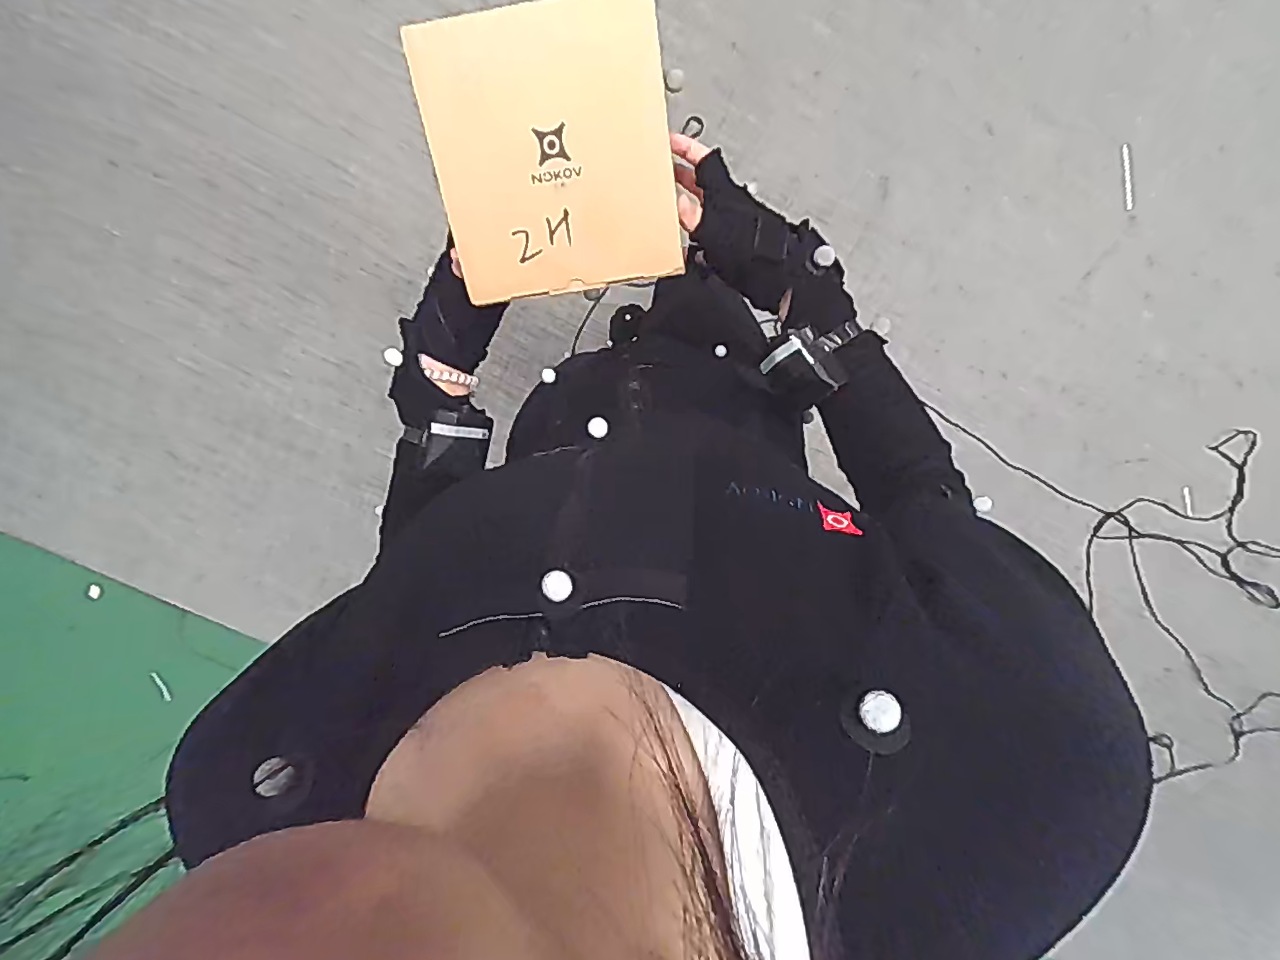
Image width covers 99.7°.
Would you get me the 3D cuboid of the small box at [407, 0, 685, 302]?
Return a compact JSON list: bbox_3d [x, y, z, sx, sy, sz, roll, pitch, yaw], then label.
[{"bbox_3d":[-0.058,-0.251,0.442,0.168,0.176,0.179,-7,113,3],"label":"small box"}]
